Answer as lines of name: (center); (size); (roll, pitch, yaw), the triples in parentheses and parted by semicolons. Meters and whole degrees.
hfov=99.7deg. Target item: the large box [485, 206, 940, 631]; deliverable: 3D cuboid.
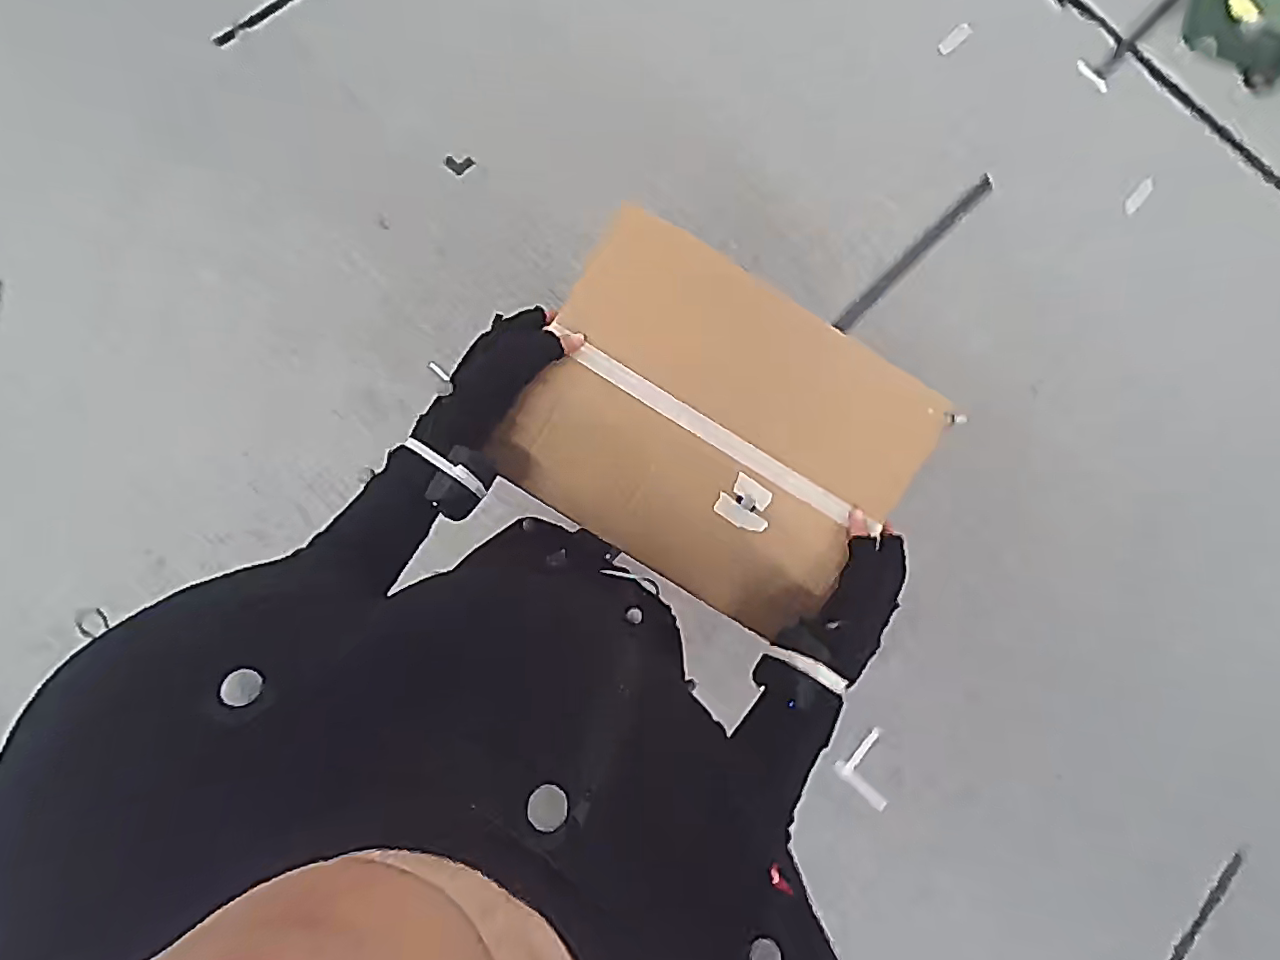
large box: (0.075, -0.071, 0.729); (0.408, 0.320, 0.320); (32, 95, -2)
